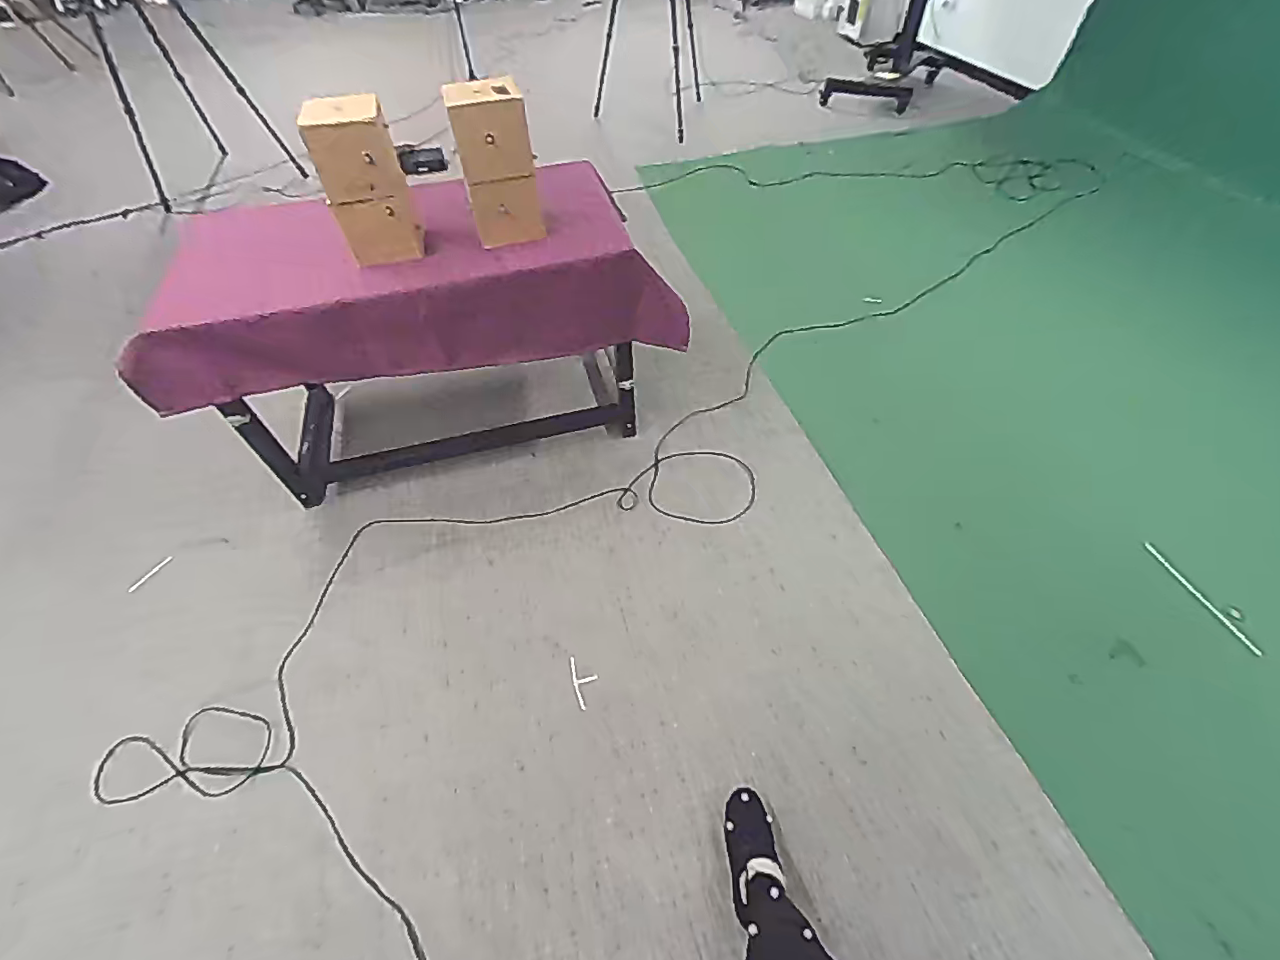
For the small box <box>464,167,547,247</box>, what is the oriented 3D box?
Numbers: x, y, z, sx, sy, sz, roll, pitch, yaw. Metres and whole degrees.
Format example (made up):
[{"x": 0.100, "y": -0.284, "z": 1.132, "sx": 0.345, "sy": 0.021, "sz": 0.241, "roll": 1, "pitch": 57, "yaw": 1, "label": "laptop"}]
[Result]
[{"x": -0.363, "y": -0.756, "z": 1.464, "sx": 0.179, "sy": 0.176, "sz": 0.168, "roll": -16, "pitch": 53, "yaw": -9, "label": "small box"}]

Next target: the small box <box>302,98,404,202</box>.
[{"x": -0.679, "y": -0.787, "z": 1.299, "sx": 0.168, "sy": 0.176, "sz": 0.179, "roll": -13, "pitch": 51, "yaw": -10, "label": "small box"}]

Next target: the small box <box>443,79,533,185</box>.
[{"x": -0.369, "y": -0.856, "z": 1.333, "sx": 0.179, "sy": 0.176, "sz": 0.168, "roll": -15, "pitch": 52, "yaw": -9, "label": "small box"}]

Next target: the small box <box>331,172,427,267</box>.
[{"x": -0.680, "y": -0.683, "z": 1.425, "sx": 0.179, "sy": 0.176, "sz": 0.168, "roll": -12, "pitch": 51, "yaw": -8, "label": "small box"}]
